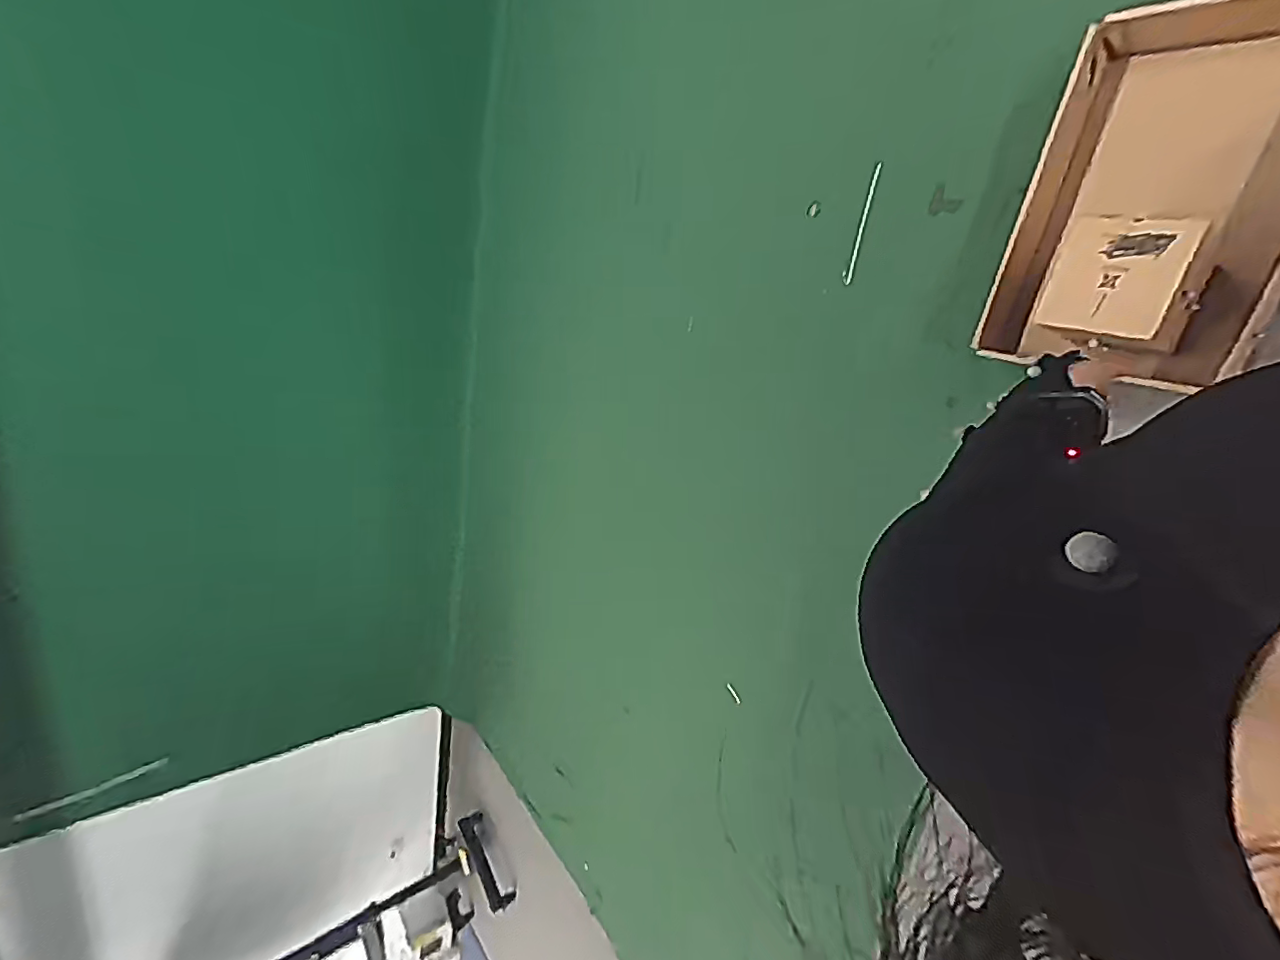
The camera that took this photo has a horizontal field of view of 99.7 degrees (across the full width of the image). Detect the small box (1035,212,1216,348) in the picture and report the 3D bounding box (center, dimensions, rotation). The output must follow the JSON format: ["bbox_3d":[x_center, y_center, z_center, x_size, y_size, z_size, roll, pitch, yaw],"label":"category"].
[{"bbox_3d":[0.804,-0.329,0.900,0.168,0.176,0.179,30,115,43],"label":"small box"}]

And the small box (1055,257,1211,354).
[{"bbox_3d":[0.924,-0.340,1.012,0.168,0.176,0.179,28,113,43],"label":"small box"}]
